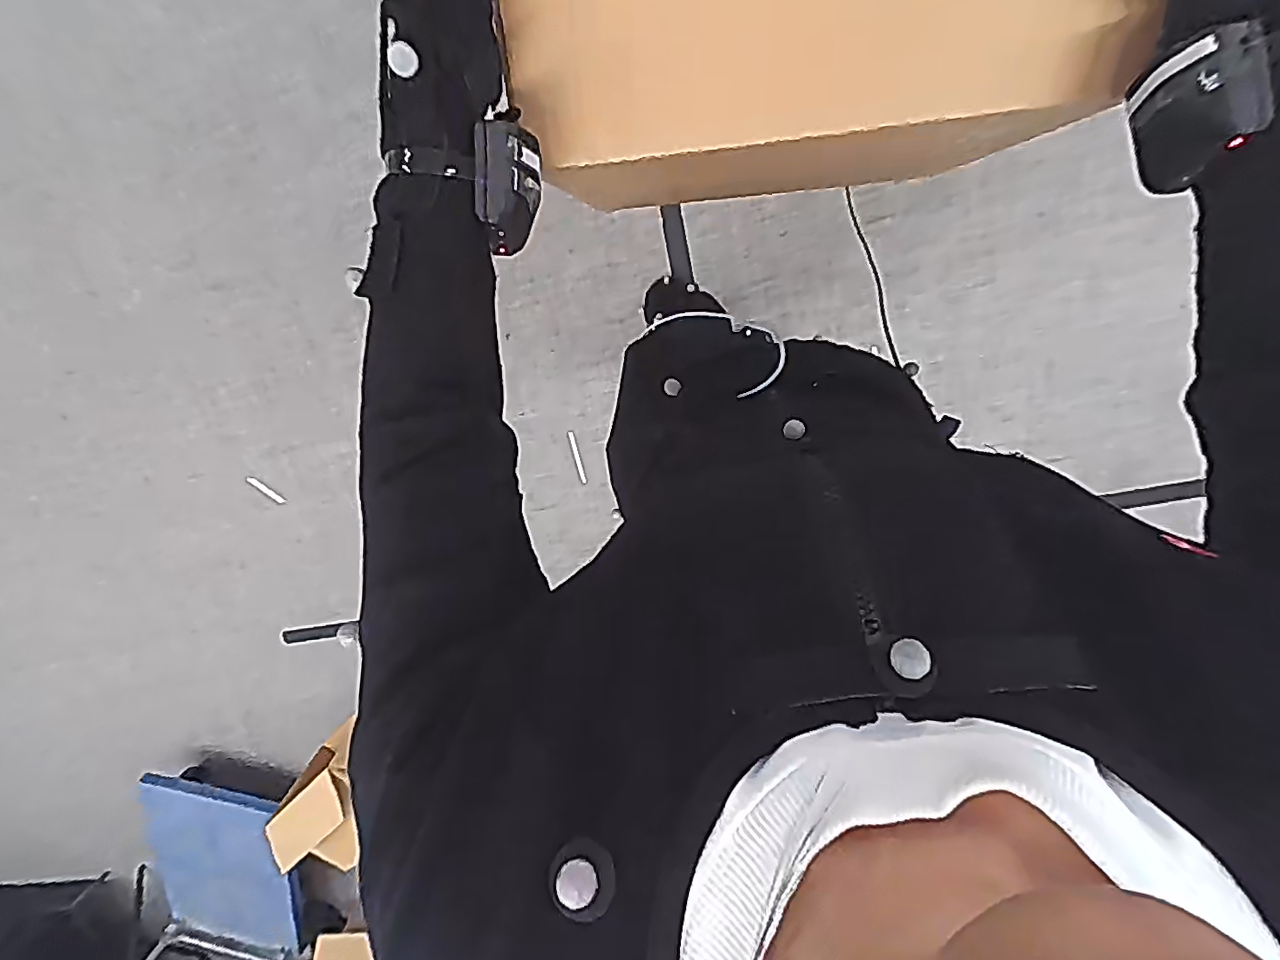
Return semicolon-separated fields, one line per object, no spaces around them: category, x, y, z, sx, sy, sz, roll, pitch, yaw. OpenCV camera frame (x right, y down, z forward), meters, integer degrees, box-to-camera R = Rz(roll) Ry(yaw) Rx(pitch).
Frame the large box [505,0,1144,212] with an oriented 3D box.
large box;0.110;-0.435;0.453;0.408;0.320;0.320;-4;111;6
